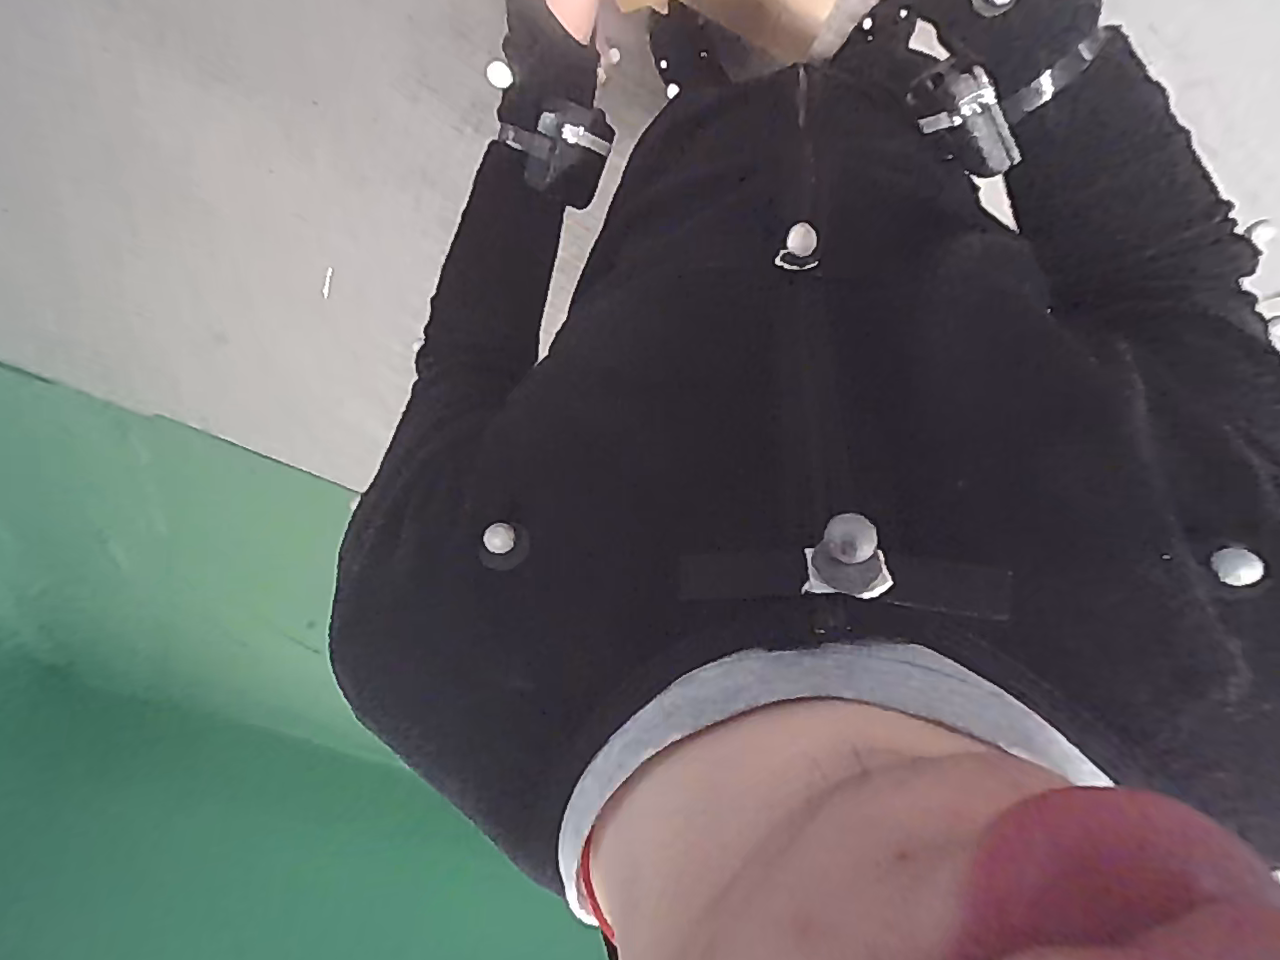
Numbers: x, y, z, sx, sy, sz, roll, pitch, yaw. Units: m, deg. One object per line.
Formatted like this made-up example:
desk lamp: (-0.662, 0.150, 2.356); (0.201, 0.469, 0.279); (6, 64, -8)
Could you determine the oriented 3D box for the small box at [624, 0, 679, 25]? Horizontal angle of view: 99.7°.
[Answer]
small box: (0.007, -0.766, 0.723); (0.168, 0.176, 0.179); (22, 137, -12)
